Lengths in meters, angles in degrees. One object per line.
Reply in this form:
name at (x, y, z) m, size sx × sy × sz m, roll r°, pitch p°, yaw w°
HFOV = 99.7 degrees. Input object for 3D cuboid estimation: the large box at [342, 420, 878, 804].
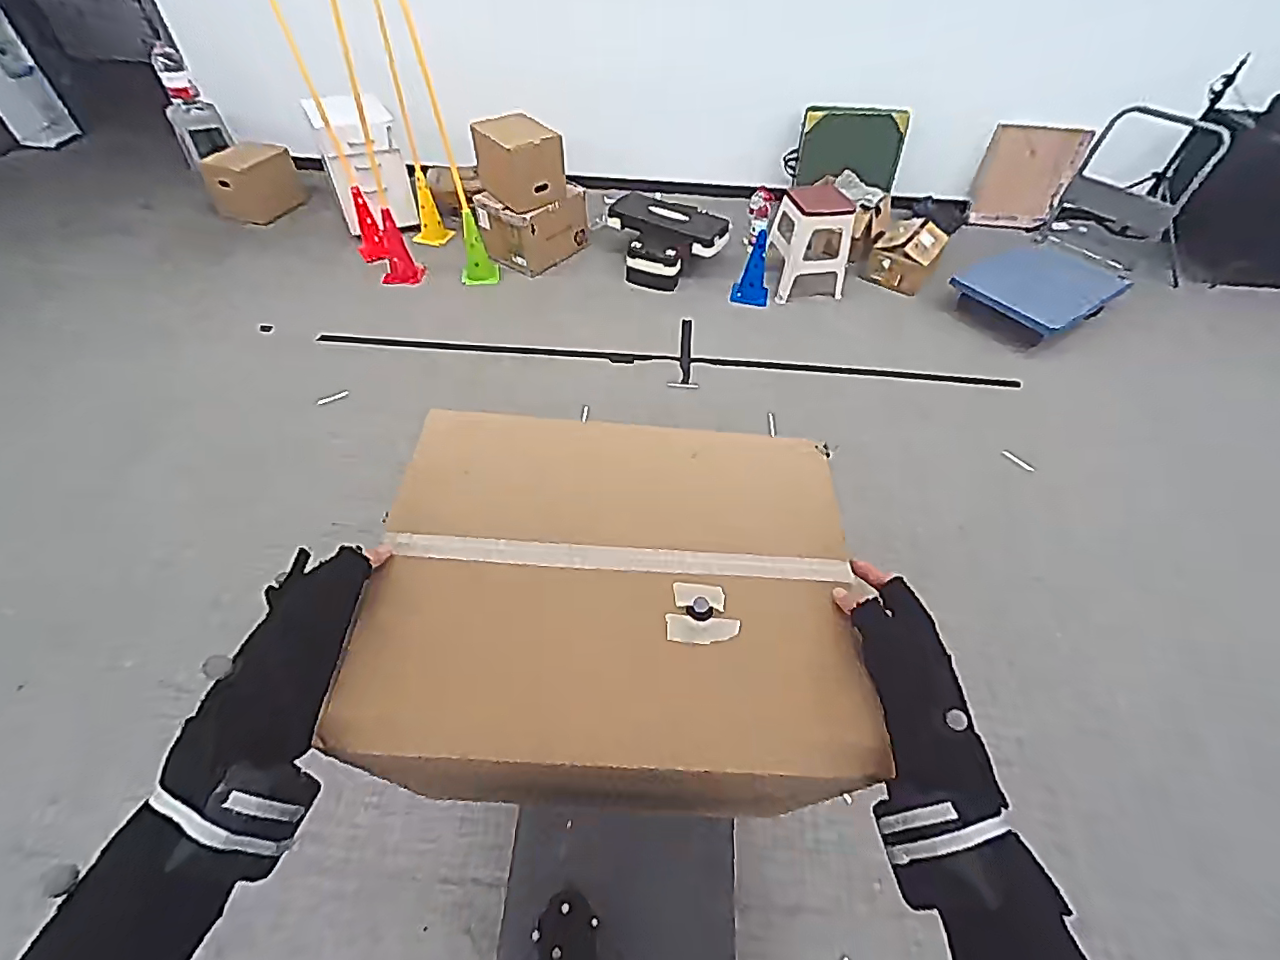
large box at (-0.027, 0.160, 0.600) m, size 0.408 × 0.320 × 0.320 m, roll 5°, pitch 54°, yaw -2°
